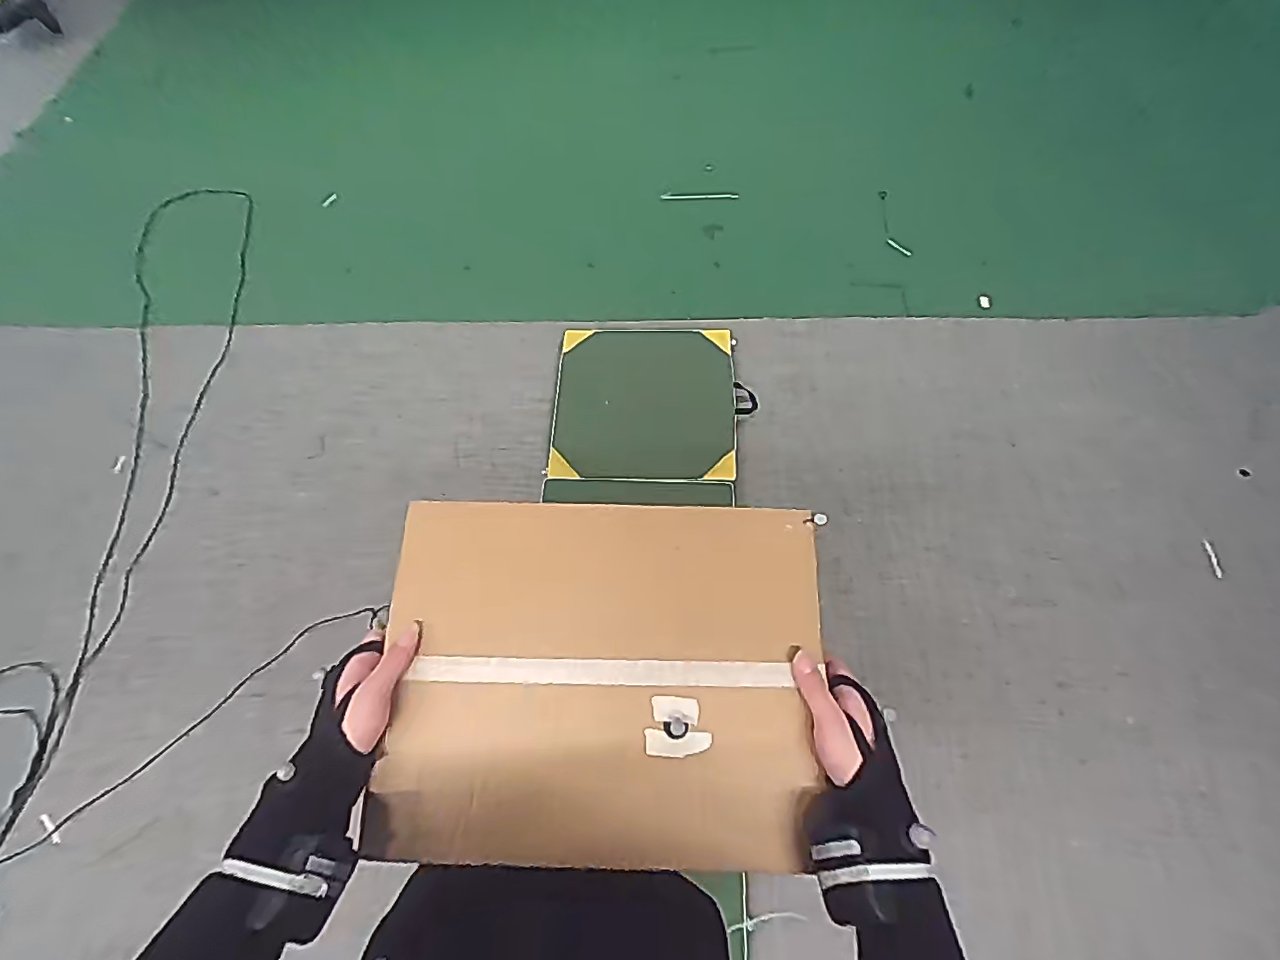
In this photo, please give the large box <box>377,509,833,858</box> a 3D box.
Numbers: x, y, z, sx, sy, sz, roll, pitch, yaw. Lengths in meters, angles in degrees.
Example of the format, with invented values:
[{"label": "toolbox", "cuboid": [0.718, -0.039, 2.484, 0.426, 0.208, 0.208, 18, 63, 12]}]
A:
[{"label": "large box", "cuboid": [-0.032, 0.224, 0.652, 0.408, 0.320, 0.320, 1, 73, 0]}]
